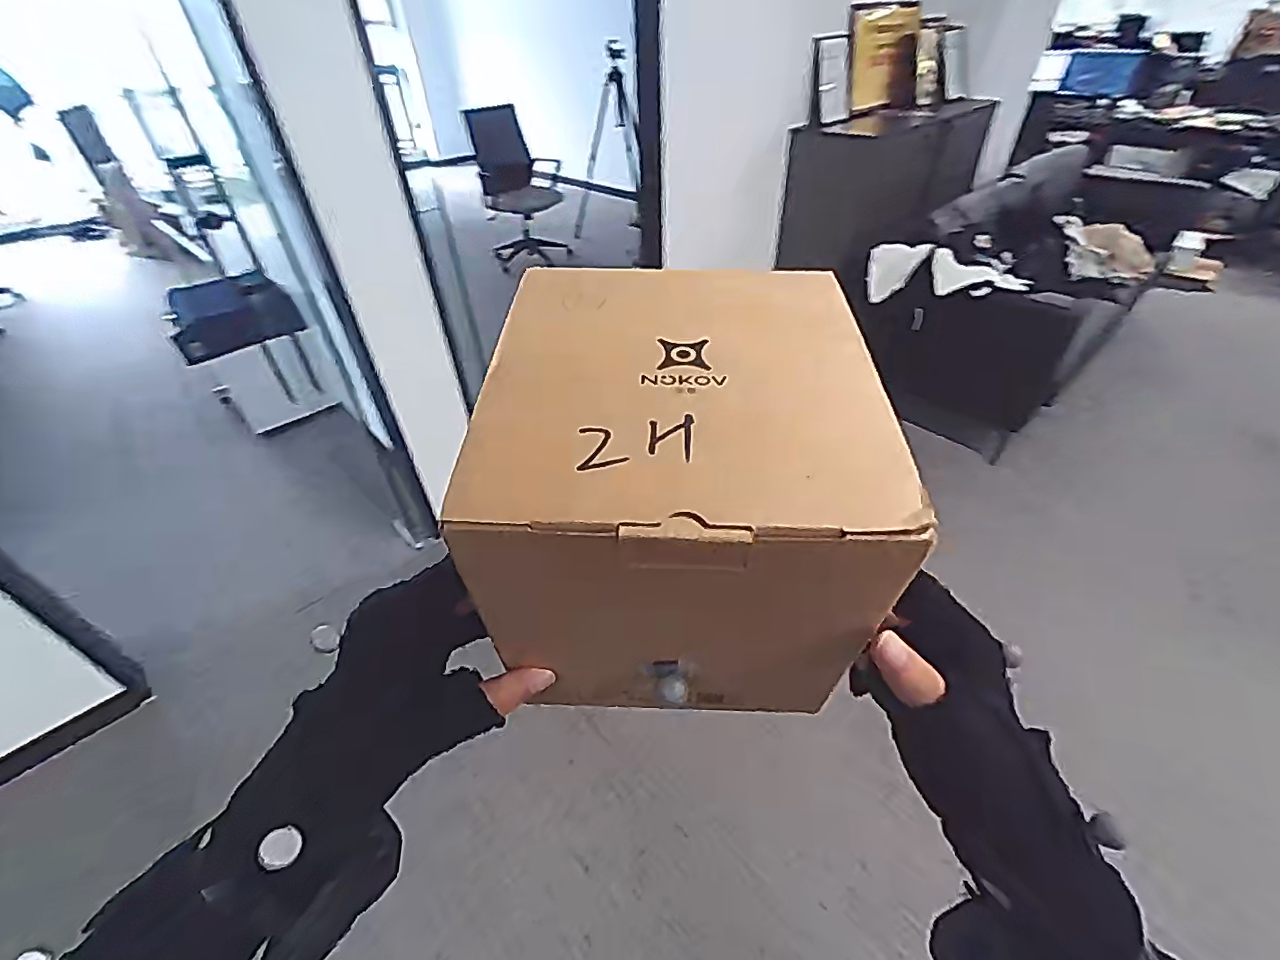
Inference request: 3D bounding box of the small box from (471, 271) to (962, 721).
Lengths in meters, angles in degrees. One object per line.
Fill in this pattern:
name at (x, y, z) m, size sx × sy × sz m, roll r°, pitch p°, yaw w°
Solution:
small box at (0.028, 0.009, 0.292) m, size 0.168 × 0.176 × 0.179 m, roll 1°, pitch 49°, yaw 3°
